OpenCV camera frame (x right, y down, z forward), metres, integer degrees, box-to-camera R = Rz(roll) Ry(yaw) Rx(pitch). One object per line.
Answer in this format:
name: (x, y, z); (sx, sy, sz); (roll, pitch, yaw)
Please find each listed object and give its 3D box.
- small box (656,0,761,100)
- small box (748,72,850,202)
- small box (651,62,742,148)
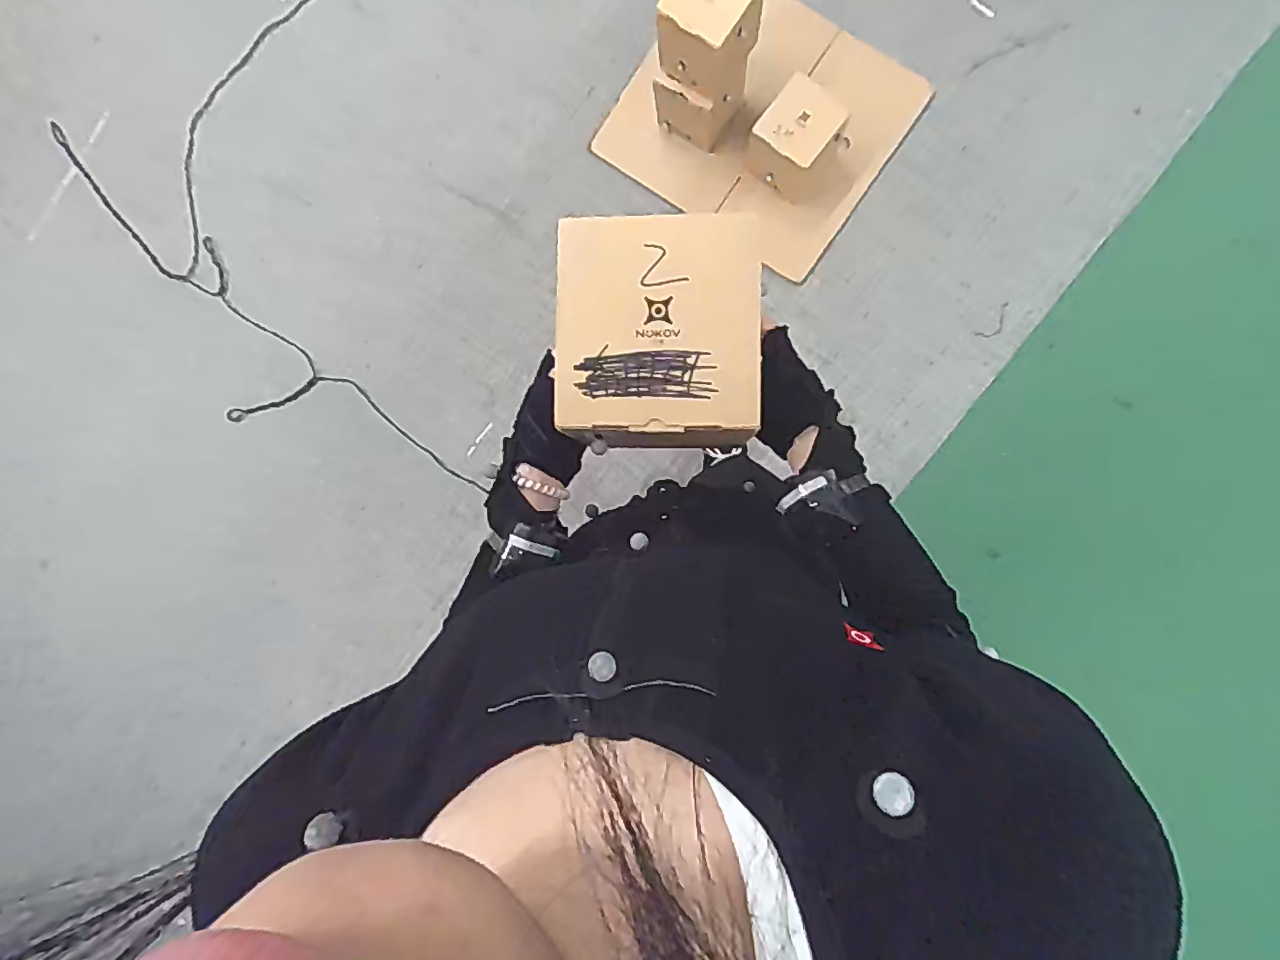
small box: (0.150, -1.009, 1.202); (0.168, 0.176, 0.179); (35, 94, 4)
small box: (0.384, -0.844, 1.347); (0.168, 0.176, 0.179); (39, 95, 5)
small box: (0.147, -0.991, 1.367); (0.168, 0.176, 0.179); (33, 93, 4)
